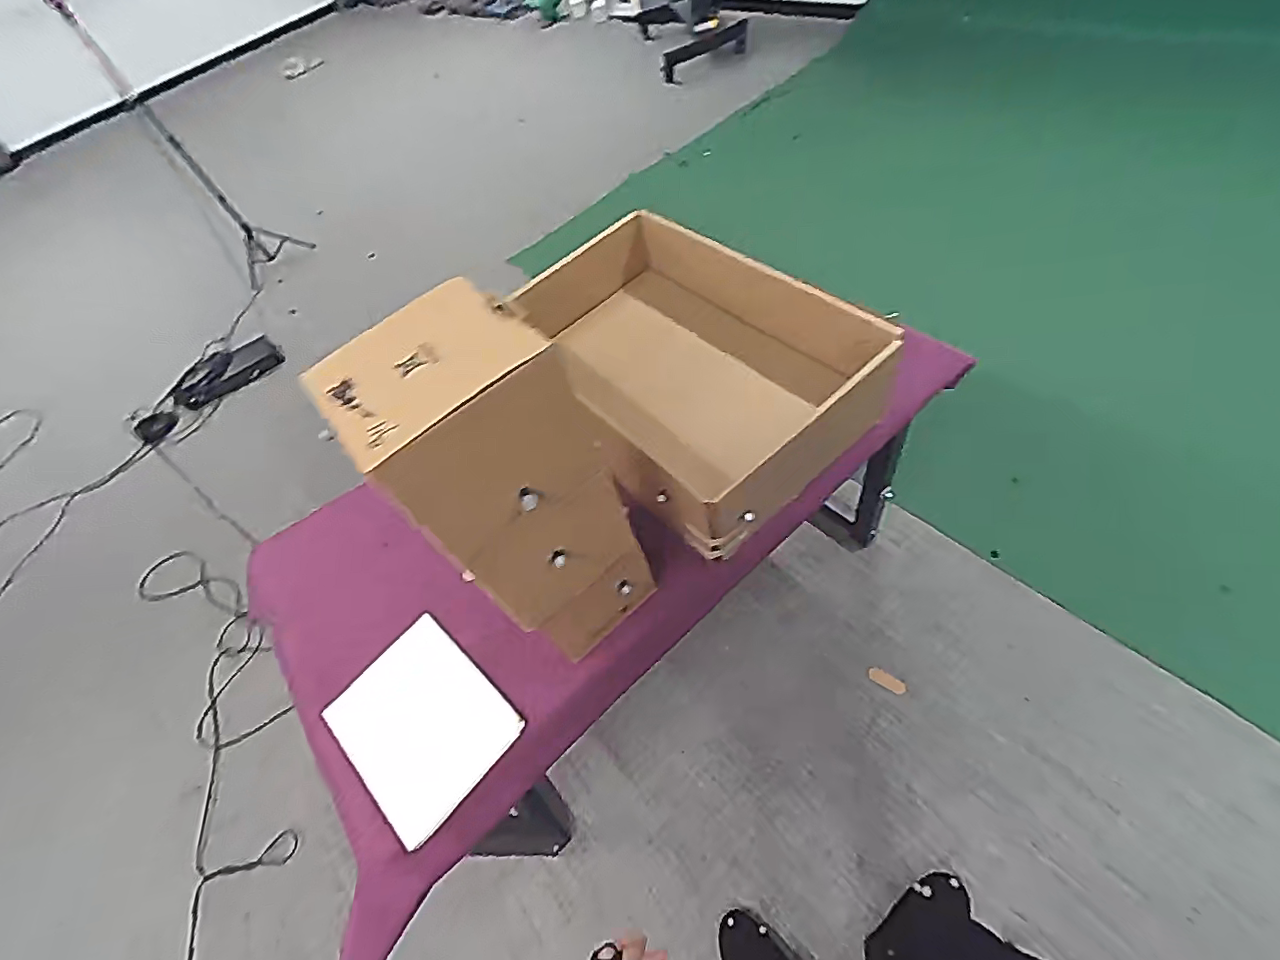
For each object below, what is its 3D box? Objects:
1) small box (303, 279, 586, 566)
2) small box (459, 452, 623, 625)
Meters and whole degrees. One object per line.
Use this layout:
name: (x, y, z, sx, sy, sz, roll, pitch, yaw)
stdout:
small box: (-0.170, -0.054, 0.520, 0.179, 0.176, 0.168, -39, 54, -15)
small box: (-0.137, 0.040, 0.652, 0.179, 0.176, 0.168, -39, 55, -13)
